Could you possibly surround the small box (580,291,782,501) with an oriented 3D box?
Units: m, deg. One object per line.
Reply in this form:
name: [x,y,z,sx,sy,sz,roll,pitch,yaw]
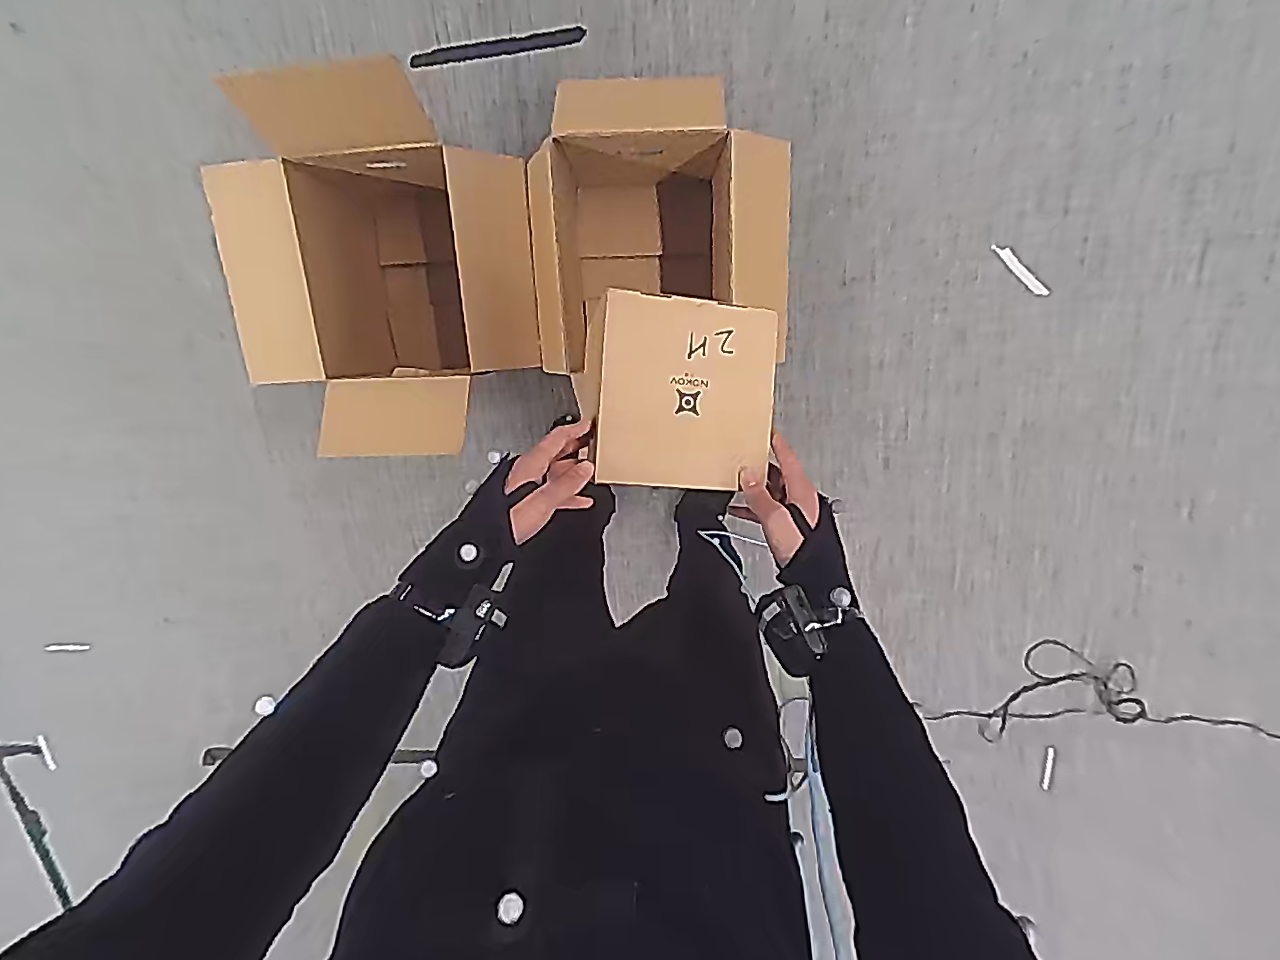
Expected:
small box: [0.030,-0.076,0.567,0.168,0.176,0.179,5,90,-12]
